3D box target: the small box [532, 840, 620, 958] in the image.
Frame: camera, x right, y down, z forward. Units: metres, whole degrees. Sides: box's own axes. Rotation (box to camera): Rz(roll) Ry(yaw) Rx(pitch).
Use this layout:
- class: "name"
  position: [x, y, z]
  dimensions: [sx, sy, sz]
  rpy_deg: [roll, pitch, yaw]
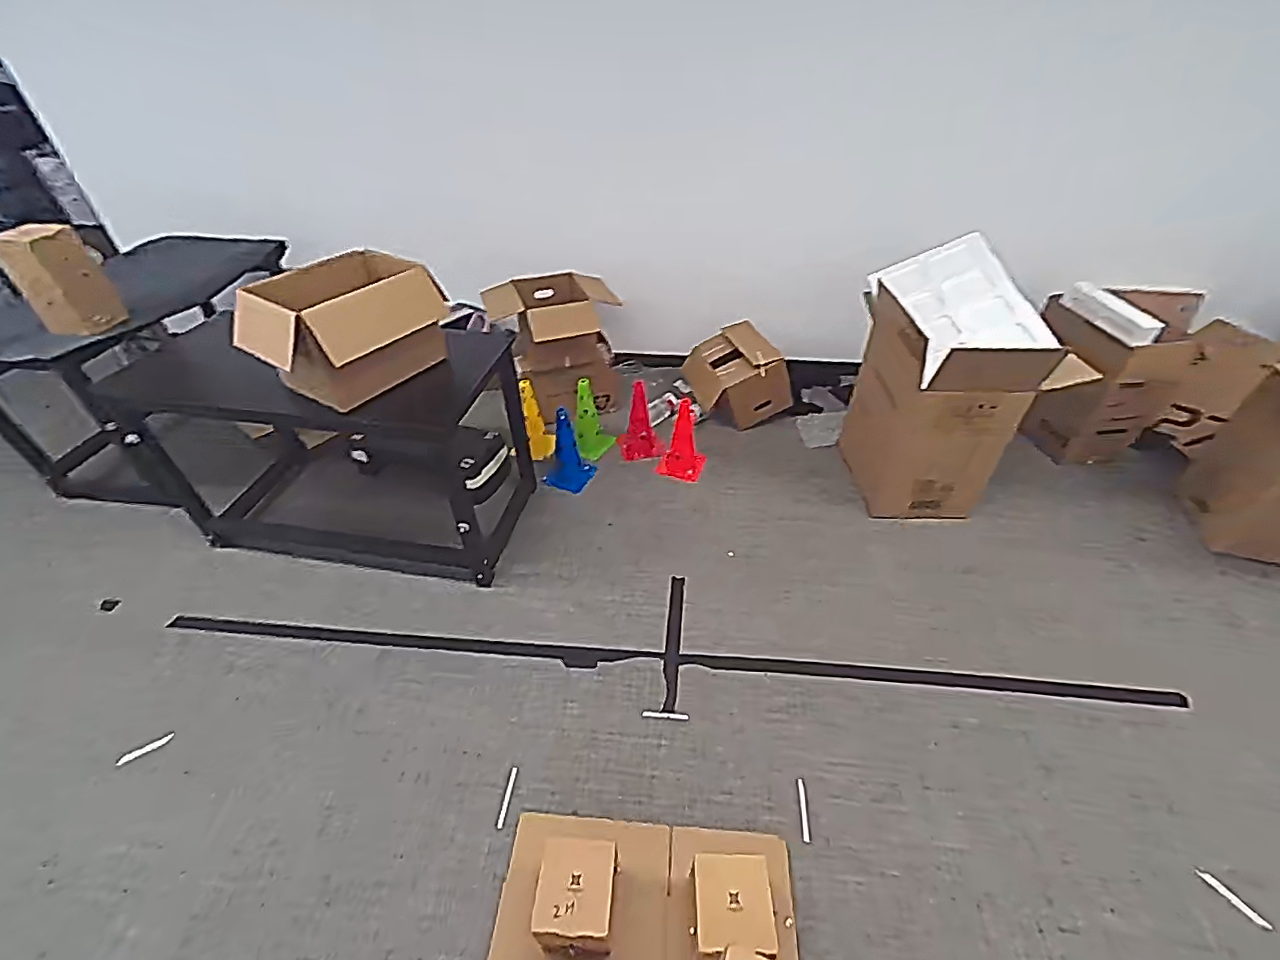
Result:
- class: "small box"
  position: [-0.137, 0.952, 1.229]
  dimensions: [0.168, 0.176, 0.179]
  rpy_deg: [2, 41, 4]

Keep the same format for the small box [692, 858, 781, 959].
- class: "small box"
  position: [0.205, 0.975, 1.208]
  dimensions: [0.168, 0.176, 0.179]
  rpy_deg: [0, 41, 1]
